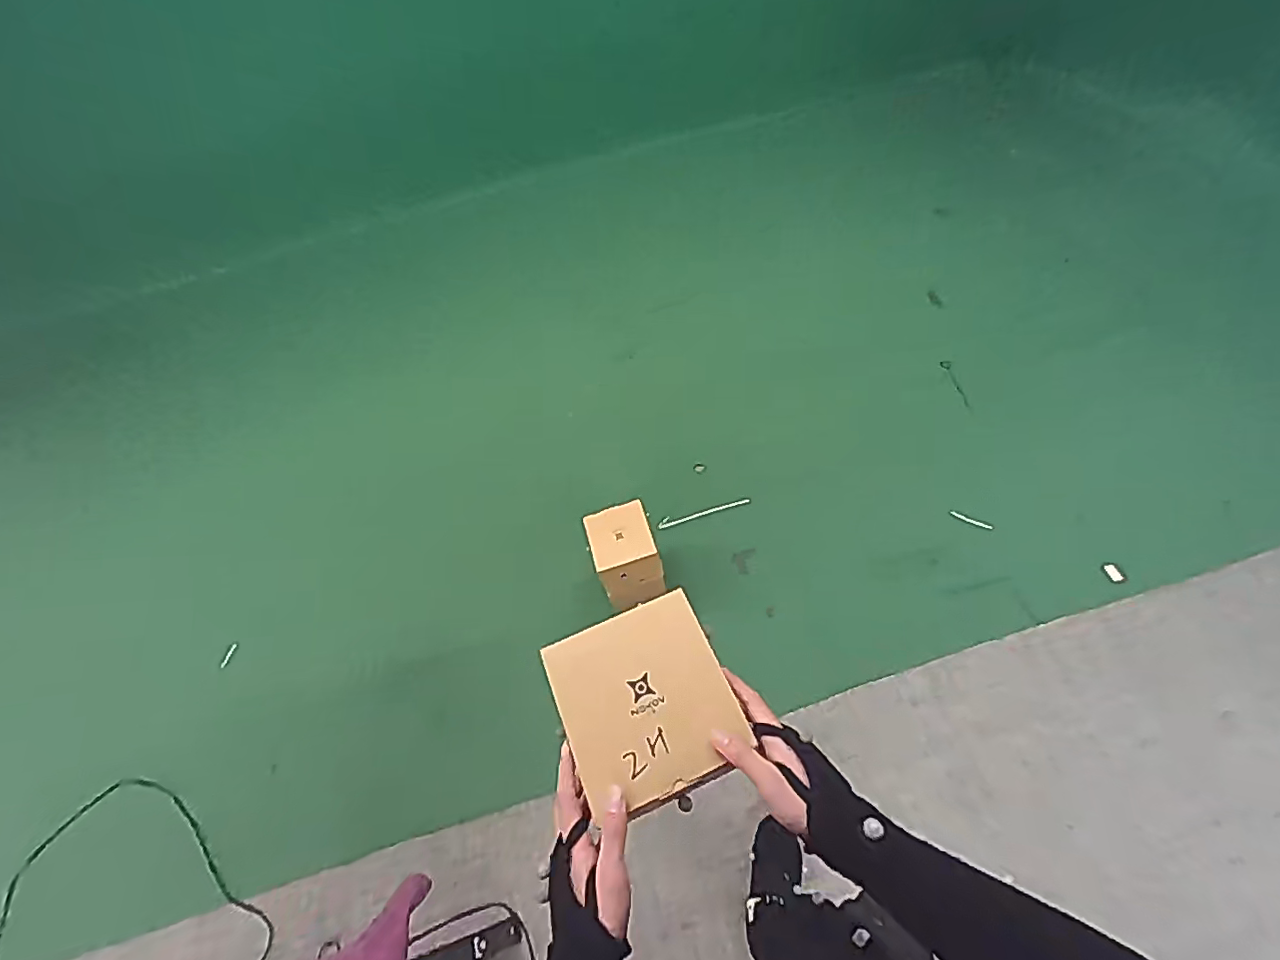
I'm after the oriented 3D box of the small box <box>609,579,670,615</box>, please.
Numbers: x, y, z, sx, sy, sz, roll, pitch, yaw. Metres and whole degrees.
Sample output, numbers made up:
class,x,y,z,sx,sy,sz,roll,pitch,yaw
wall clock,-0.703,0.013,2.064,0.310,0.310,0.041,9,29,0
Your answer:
class,x,y,z,sx,sy,sz,roll,pitch,yaw
small box,-0.013,0.290,1.634,0.168,0.176,0.179,-18,57,-2

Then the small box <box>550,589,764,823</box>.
class,x,y,z,sx,sy,sz,roll,pitch,yaw
small box,0.016,0.254,0.599,0.168,0.176,0.179,-22,59,-7

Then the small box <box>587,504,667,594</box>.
class,x,y,z,sx,sy,sz,roll,pitch,yaw
small box,-0.032,0.200,1.502,0.168,0.176,0.179,-19,54,-2
